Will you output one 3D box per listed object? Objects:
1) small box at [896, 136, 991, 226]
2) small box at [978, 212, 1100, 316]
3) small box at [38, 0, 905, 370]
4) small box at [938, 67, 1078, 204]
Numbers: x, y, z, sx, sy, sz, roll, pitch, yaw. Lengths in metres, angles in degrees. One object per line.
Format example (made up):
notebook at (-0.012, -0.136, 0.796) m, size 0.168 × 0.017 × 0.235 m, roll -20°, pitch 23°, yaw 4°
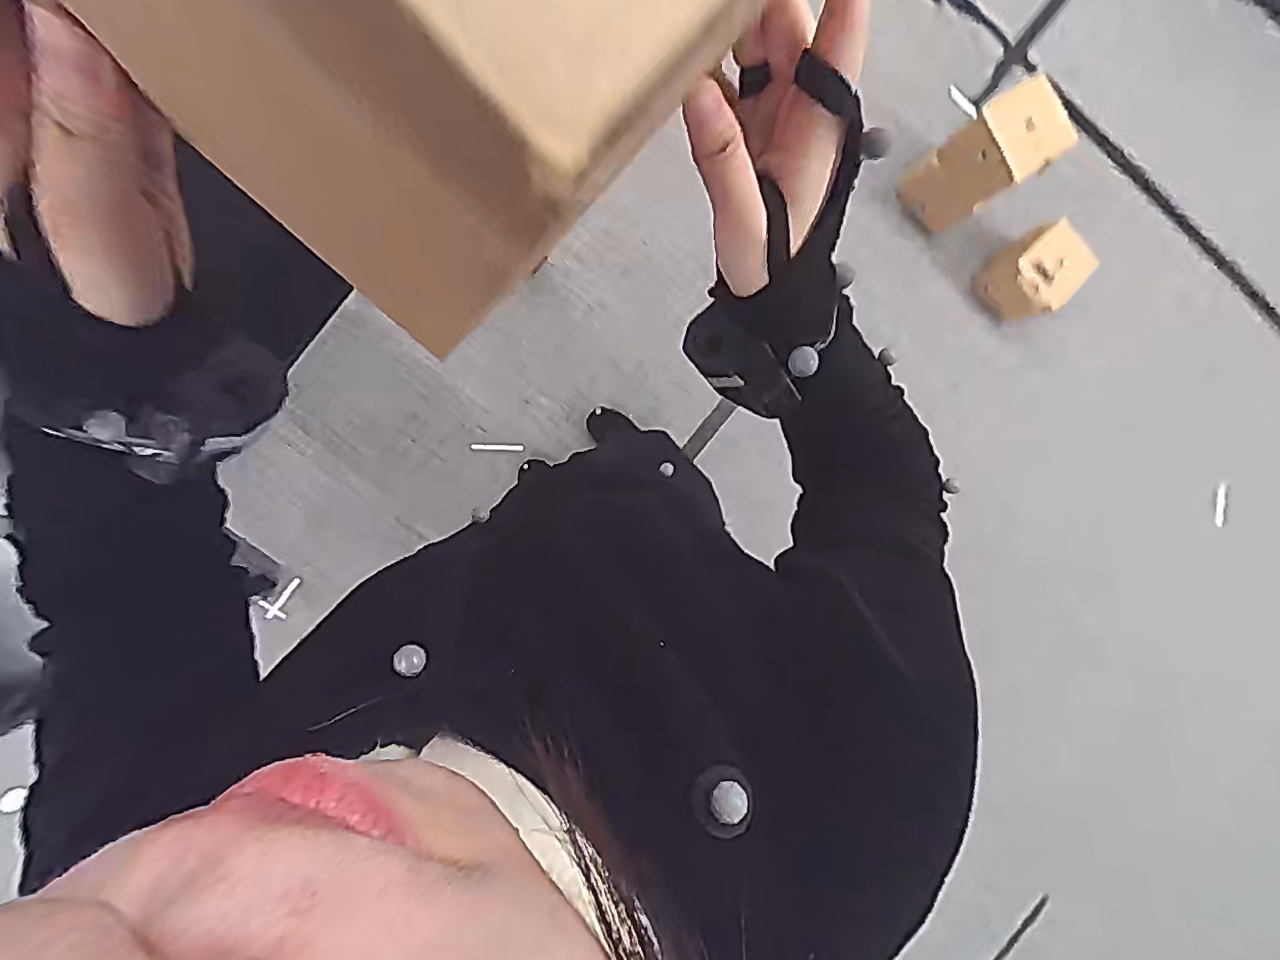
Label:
small box at (0.819, -0.795, 1.411) m, size 0.179 × 0.176 × 0.168 m, roll 44°, pitch 90°, yaw -9°
small box at (1.058, -0.569, 1.457) m, size 0.168 × 0.176 × 0.179 m, roll 44°, pitch 90°, yaw -8°
small box at (-0.036, -0.149, 0.111) m, size 0.176 × 0.168 × 0.179 m, roll 44°, pitch 77°, yaw -22°
small box at (0.835, -0.781, 1.247) m, size 0.168 × 0.176 × 0.179 m, roll -34°, pitch 97°, yaw 0°
